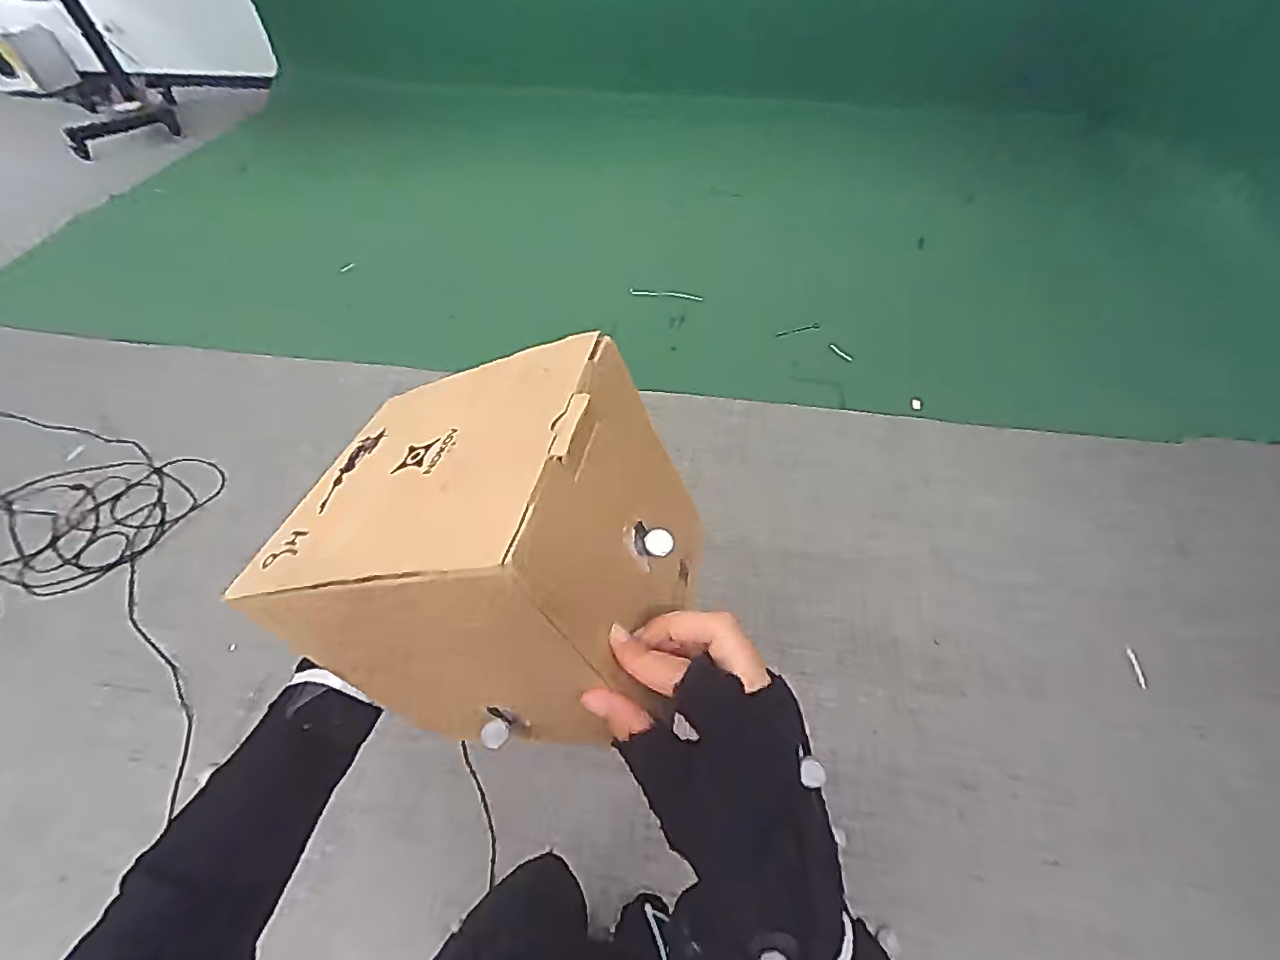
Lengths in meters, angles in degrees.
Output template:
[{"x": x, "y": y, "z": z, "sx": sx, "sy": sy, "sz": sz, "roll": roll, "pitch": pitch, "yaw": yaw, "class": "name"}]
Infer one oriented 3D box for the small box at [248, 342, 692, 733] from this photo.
[{"x": -0.077, "y": 0.045, "z": 0.344, "sx": 0.179, "sy": 0.176, "sz": 0.168, "roll": -9, "pitch": 42, "yaw": 23, "class": "small box"}]
